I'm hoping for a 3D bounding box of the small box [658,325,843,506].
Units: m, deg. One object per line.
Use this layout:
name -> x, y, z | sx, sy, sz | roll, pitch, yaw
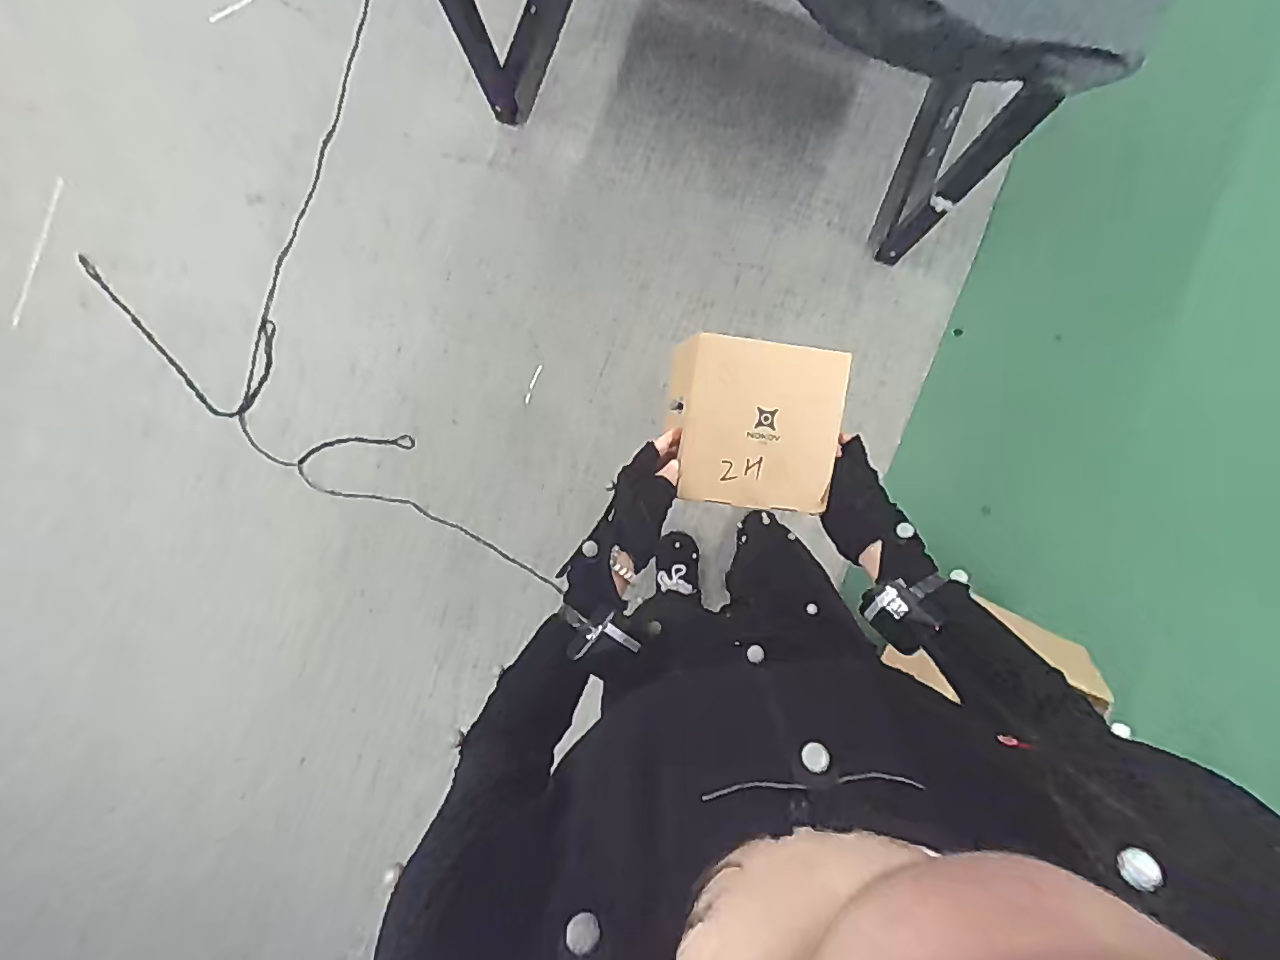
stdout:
small box -> 0.117, -0.077, 0.651 | 0.168, 0.176, 0.179 | 6, 98, -5
